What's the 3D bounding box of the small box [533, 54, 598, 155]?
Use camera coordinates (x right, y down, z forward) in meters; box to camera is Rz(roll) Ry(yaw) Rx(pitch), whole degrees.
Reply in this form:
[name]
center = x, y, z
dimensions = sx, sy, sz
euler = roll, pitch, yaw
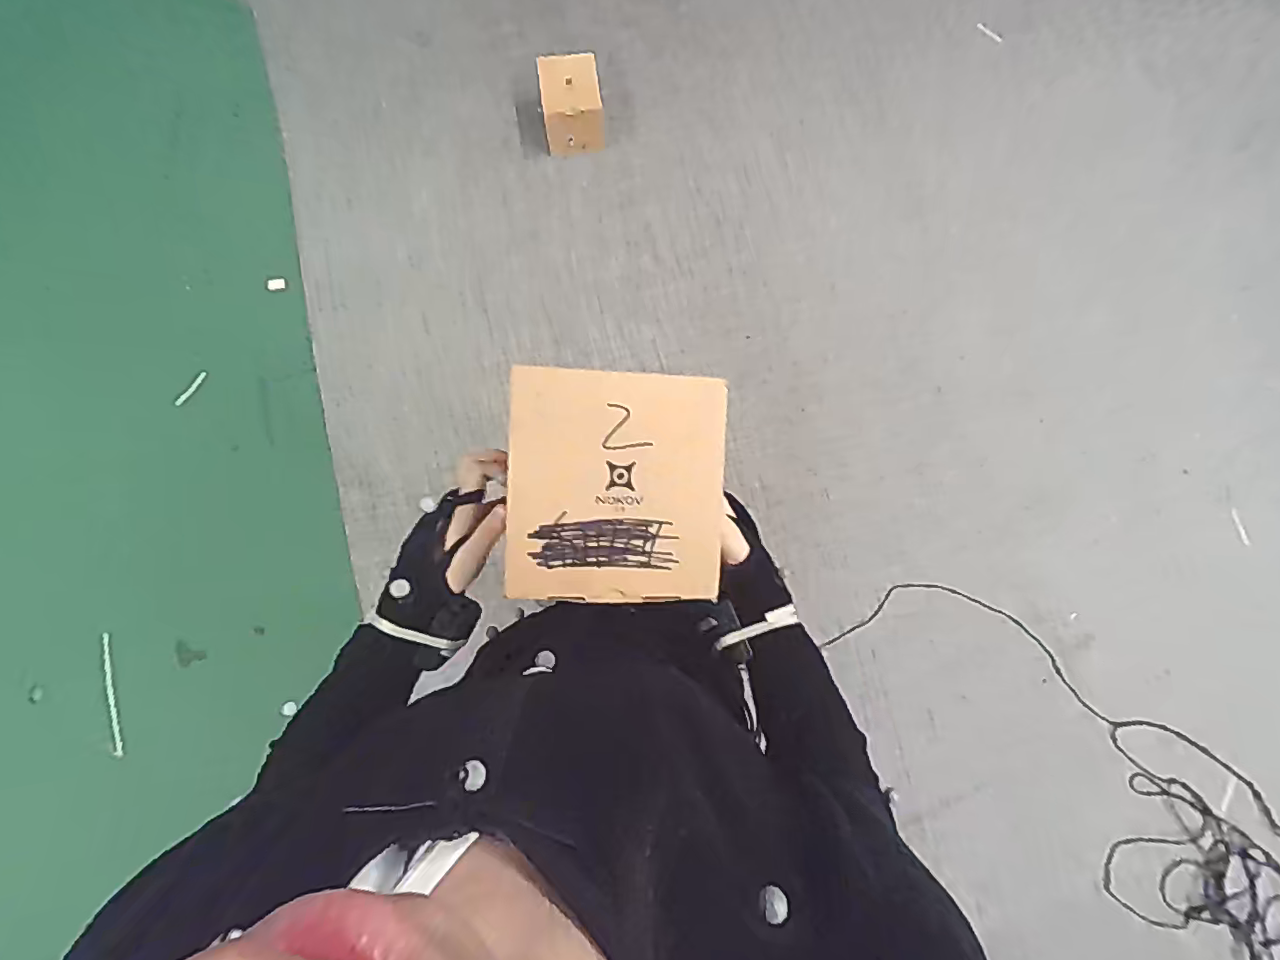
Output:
[small box]
center = -0.214, -1.096, 1.584
dimensions = 0.168, 0.176, 0.179
euler = -8, 84, -5
